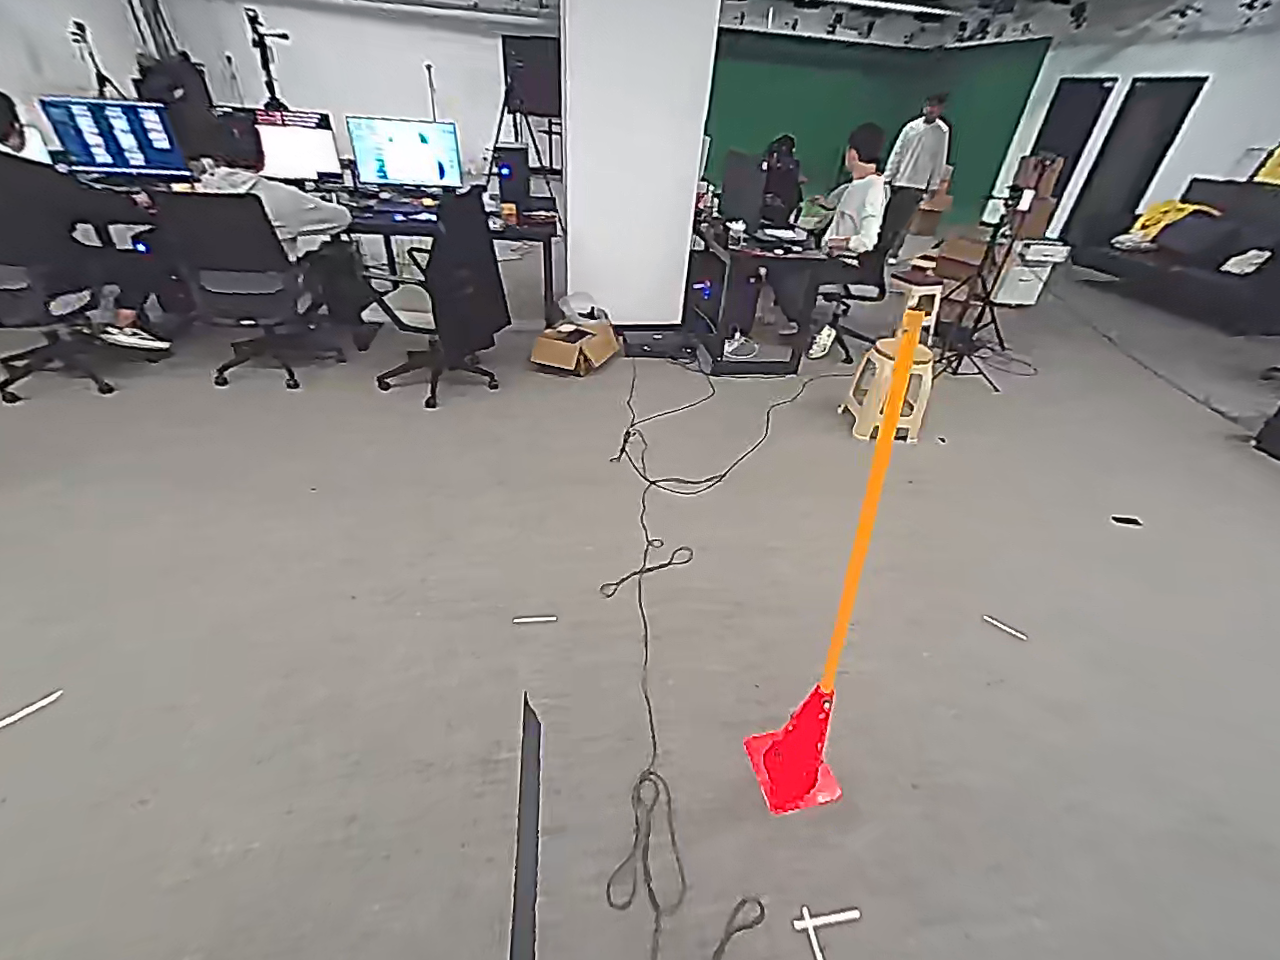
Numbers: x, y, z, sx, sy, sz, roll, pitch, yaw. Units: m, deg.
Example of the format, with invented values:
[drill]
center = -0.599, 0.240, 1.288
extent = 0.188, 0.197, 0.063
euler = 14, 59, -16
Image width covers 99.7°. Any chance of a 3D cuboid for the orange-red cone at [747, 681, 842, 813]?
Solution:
[orange-red cone]
center = 0.406, 0.611, 1.308
extent = 0.199, 0.360, 0.198
euler = -5, 35, -11
